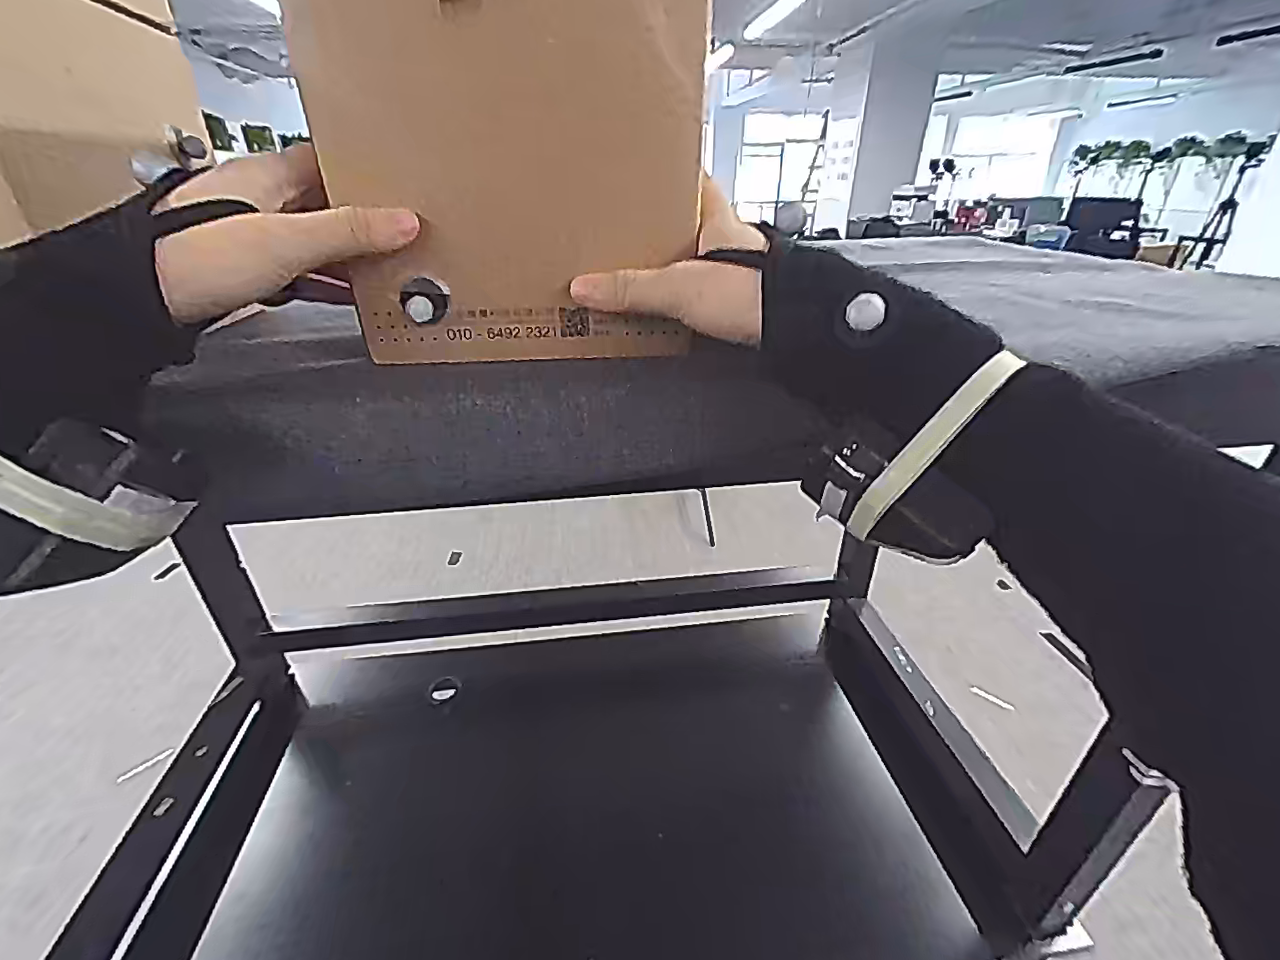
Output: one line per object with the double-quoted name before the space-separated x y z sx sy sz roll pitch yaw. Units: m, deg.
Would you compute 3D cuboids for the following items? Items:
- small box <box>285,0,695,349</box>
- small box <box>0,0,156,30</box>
"small box" -0.062 -0.176 0.314 0.168 0.176 0.179 -3 28 -6
"small box" -0.349 -0.298 0.207 0.168 0.176 0.179 -4 27 -7
